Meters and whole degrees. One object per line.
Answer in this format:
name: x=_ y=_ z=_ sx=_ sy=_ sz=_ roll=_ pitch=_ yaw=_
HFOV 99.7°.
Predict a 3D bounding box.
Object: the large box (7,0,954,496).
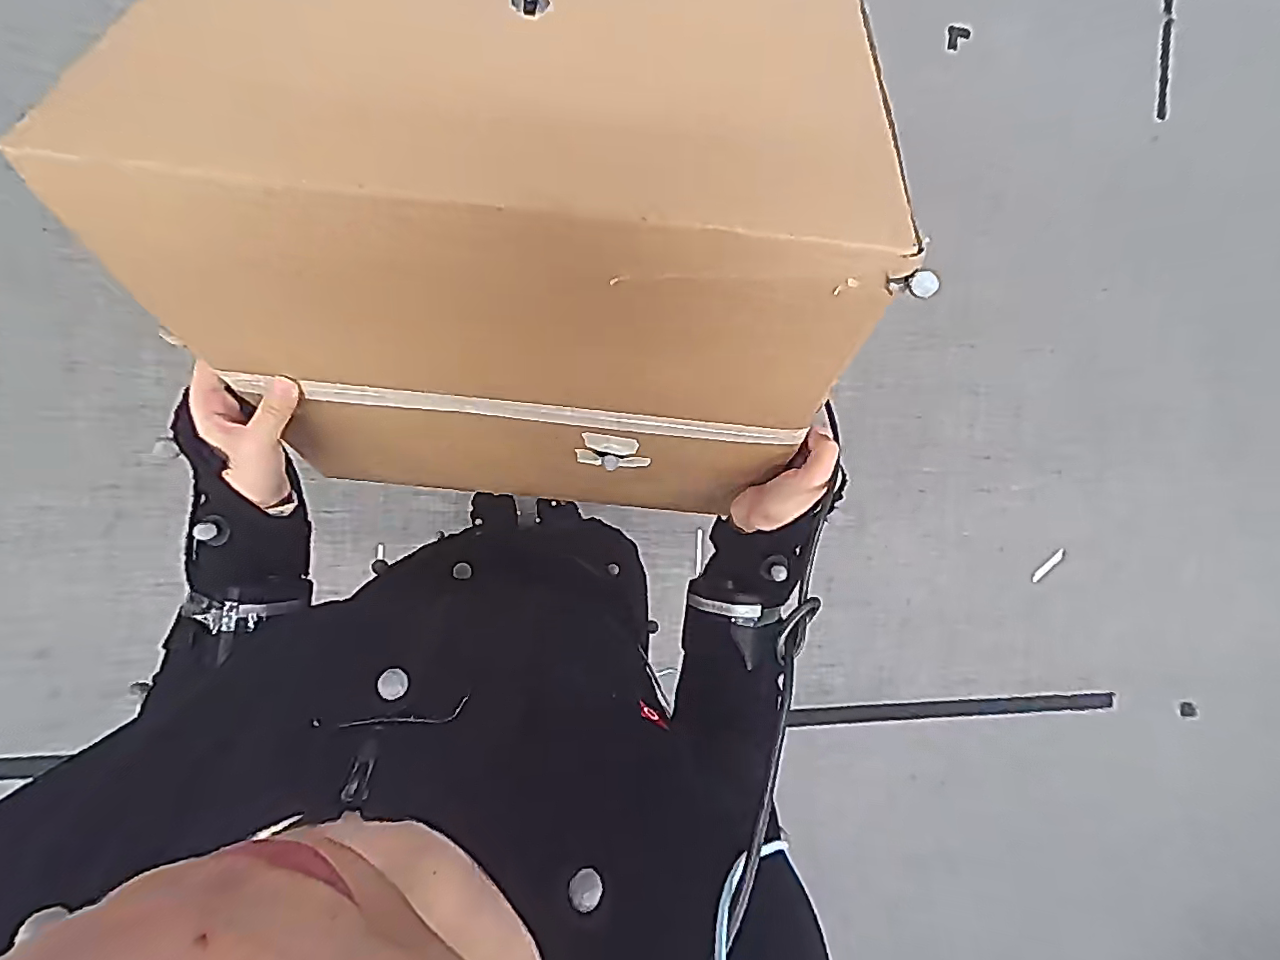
large box: x=-0.066 y=-0.201 z=0.422 sx=0.408 sy=0.320 sz=0.320 roll=5 pitch=64 yaw=-2
